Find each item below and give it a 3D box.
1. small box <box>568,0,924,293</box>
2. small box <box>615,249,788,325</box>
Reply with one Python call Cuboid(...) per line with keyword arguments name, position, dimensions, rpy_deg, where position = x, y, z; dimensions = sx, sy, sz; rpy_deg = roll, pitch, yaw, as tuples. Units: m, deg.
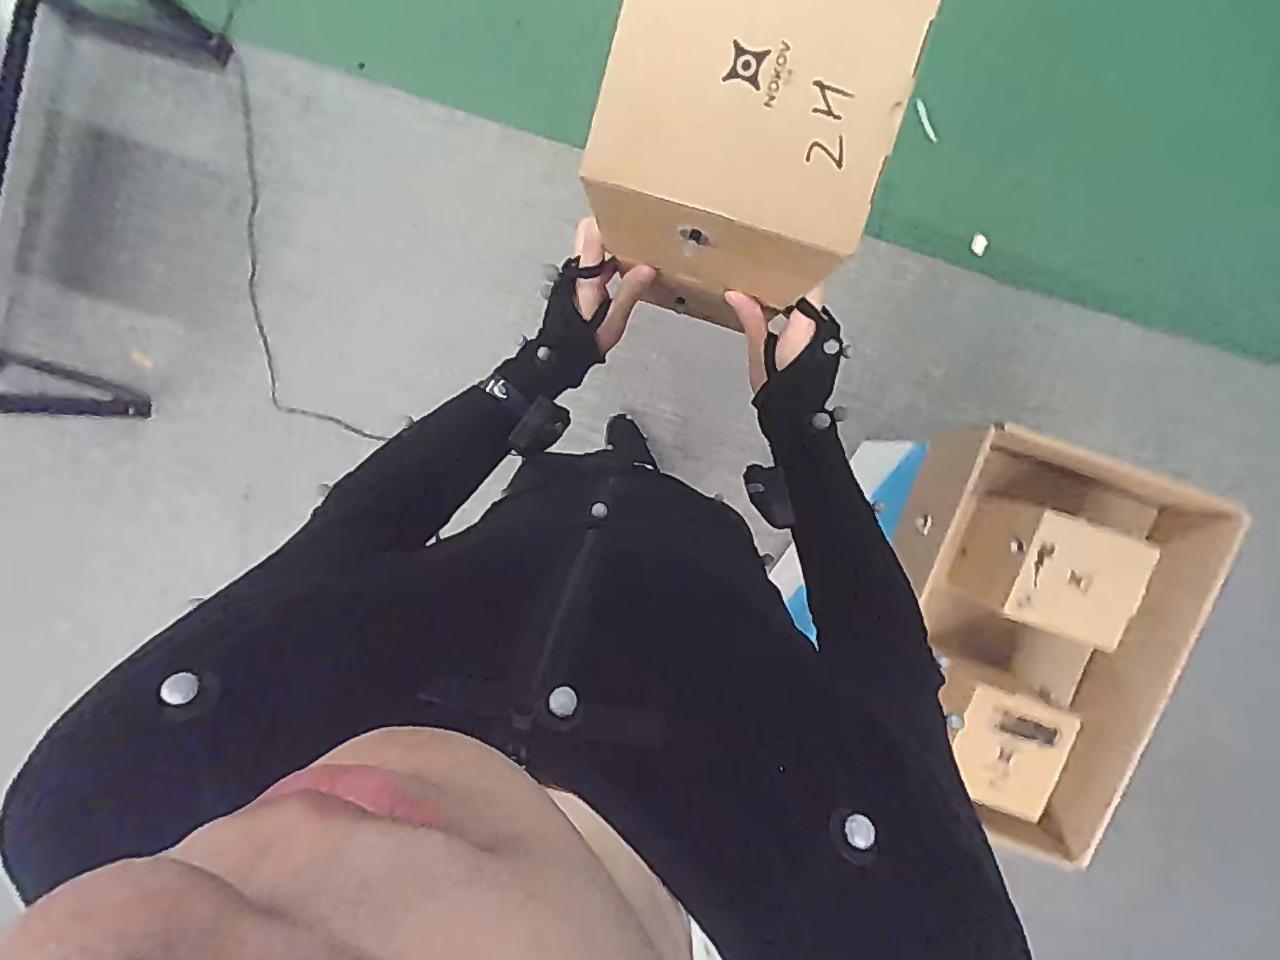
Cuboid(name="small box", position=(0.065, -0.250, 0.392), dimensions=(0.179, 0.176, 0.168), rpy_deg=(16, 99, 0))
Cuboid(name="small box", position=(0.078, -0.275, 0.555), dimensions=(0.168, 0.176, 0.179), rpy_deg=(17, 99, 0))
